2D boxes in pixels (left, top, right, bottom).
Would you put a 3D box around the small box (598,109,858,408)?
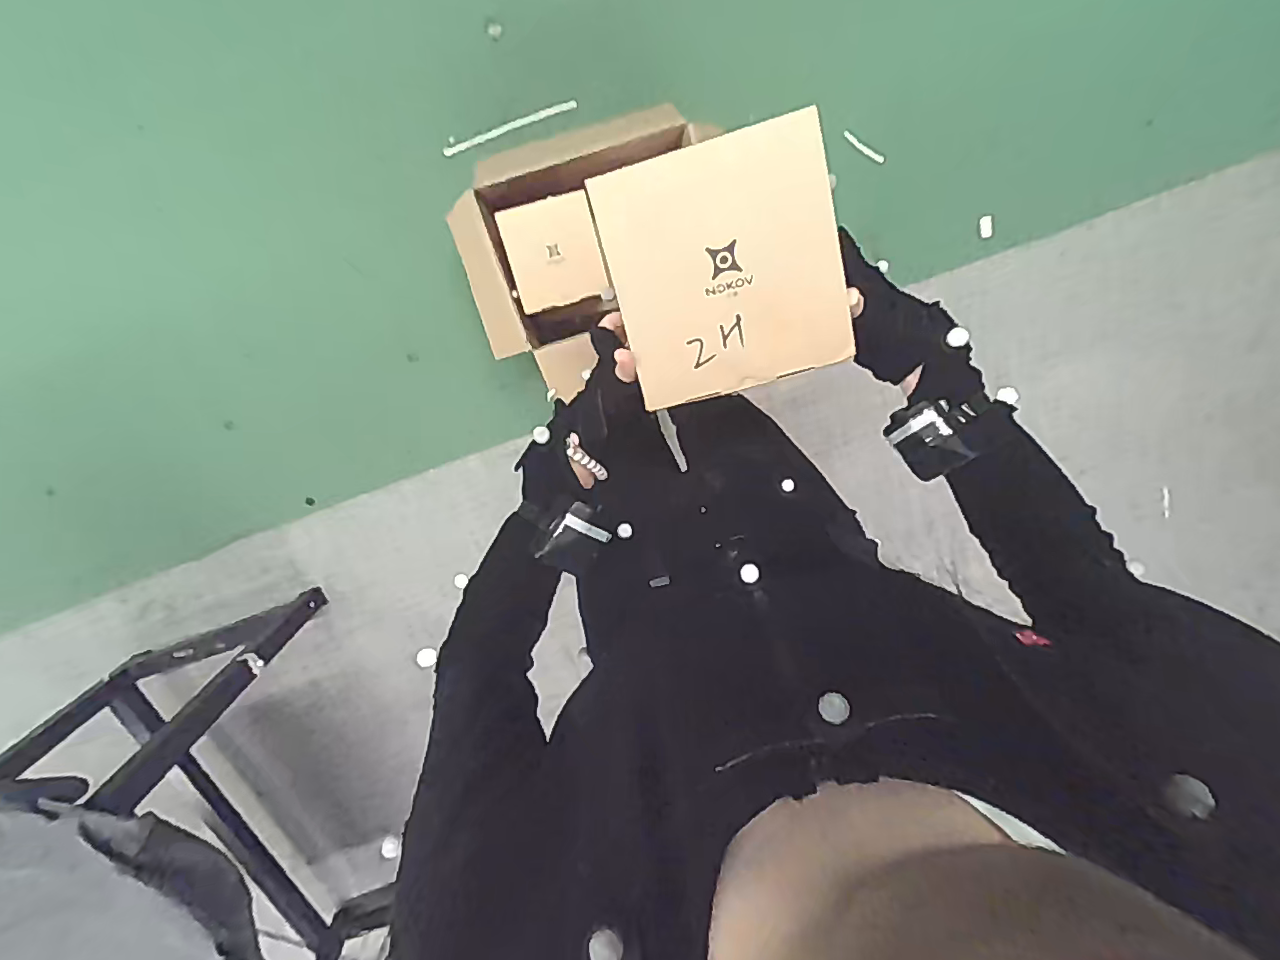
[{"bbox_3d":[0.071,-0.176,0.471,0.168,0.176,0.179,-13,106,7],"label":"small box"}]
